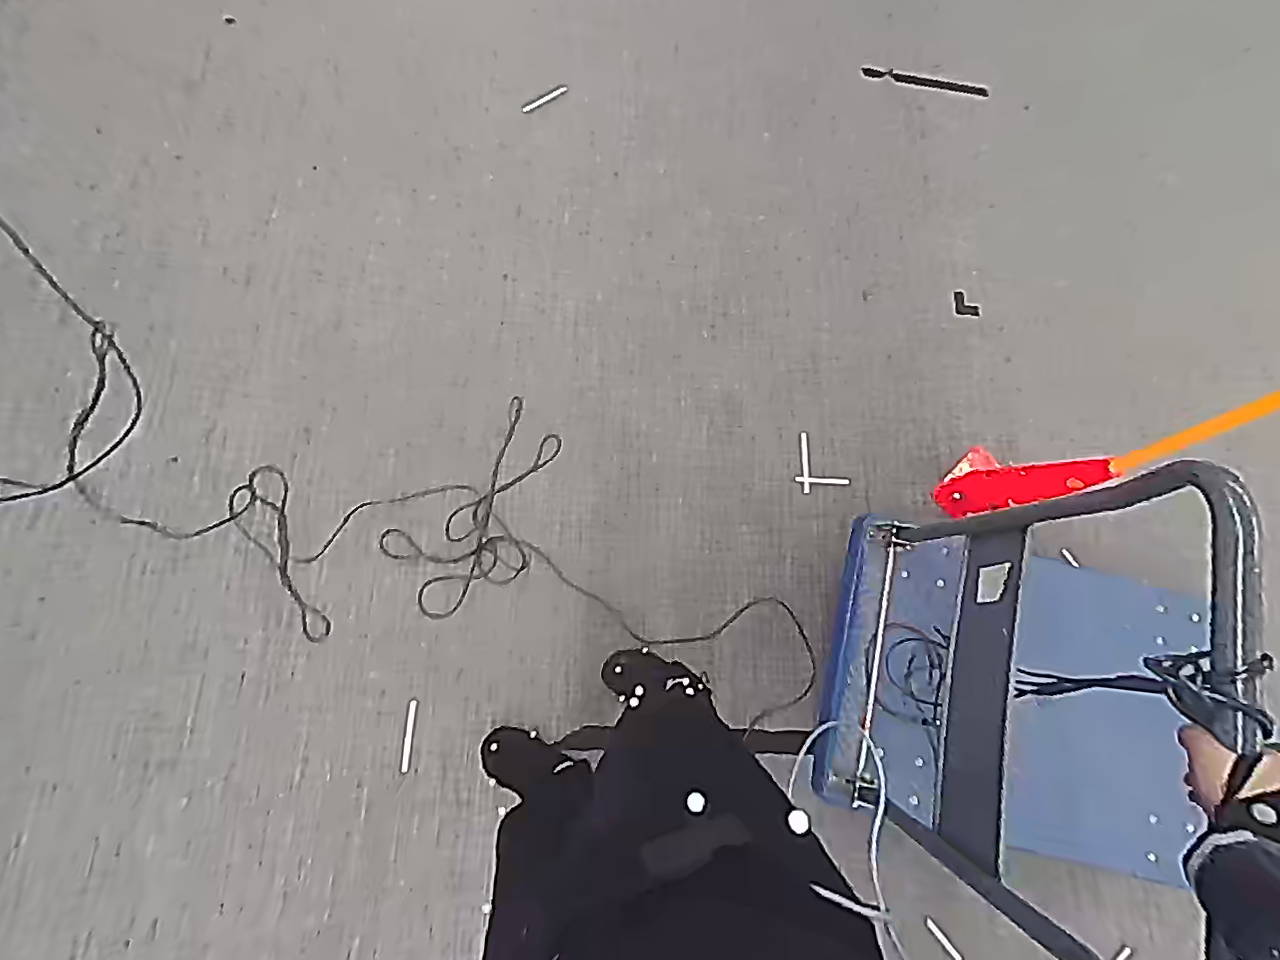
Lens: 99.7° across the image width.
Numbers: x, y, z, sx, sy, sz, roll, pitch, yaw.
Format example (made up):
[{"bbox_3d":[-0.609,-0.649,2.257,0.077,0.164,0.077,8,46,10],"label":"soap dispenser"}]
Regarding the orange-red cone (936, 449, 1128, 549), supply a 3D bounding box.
[{"bbox_3d":[0.881,0.016,1.188,0.198,0.360,0.199,-41,87,-12],"label":"orange-red cone"}]
